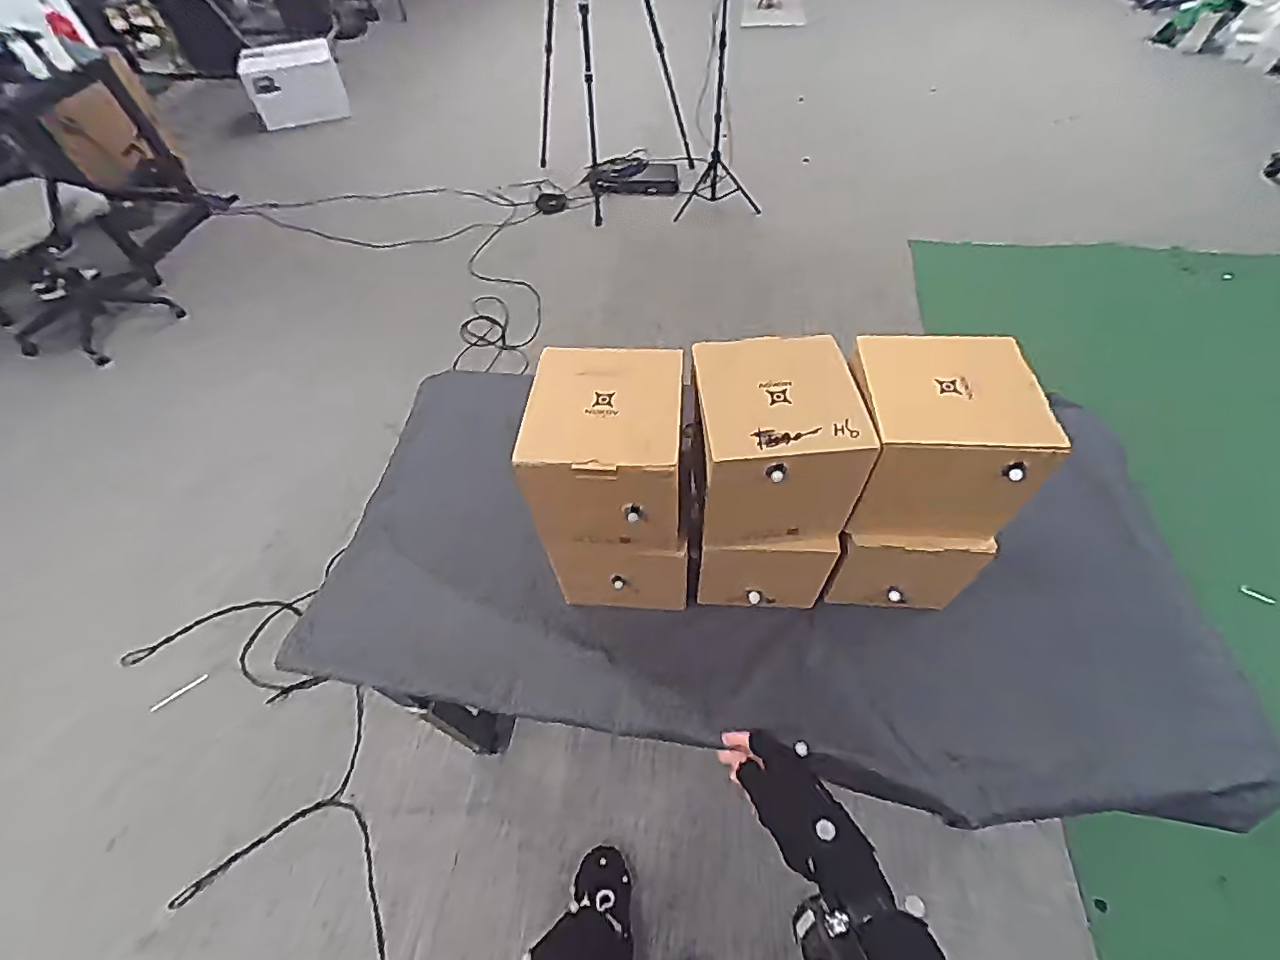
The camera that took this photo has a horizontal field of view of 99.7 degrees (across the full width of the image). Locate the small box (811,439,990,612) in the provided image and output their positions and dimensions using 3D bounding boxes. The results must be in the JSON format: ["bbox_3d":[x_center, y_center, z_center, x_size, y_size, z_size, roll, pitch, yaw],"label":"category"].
[{"bbox_3d":[0.342,0.064,0.754,0.168,0.176,0.179,2,53,6],"label":"small box"}]
